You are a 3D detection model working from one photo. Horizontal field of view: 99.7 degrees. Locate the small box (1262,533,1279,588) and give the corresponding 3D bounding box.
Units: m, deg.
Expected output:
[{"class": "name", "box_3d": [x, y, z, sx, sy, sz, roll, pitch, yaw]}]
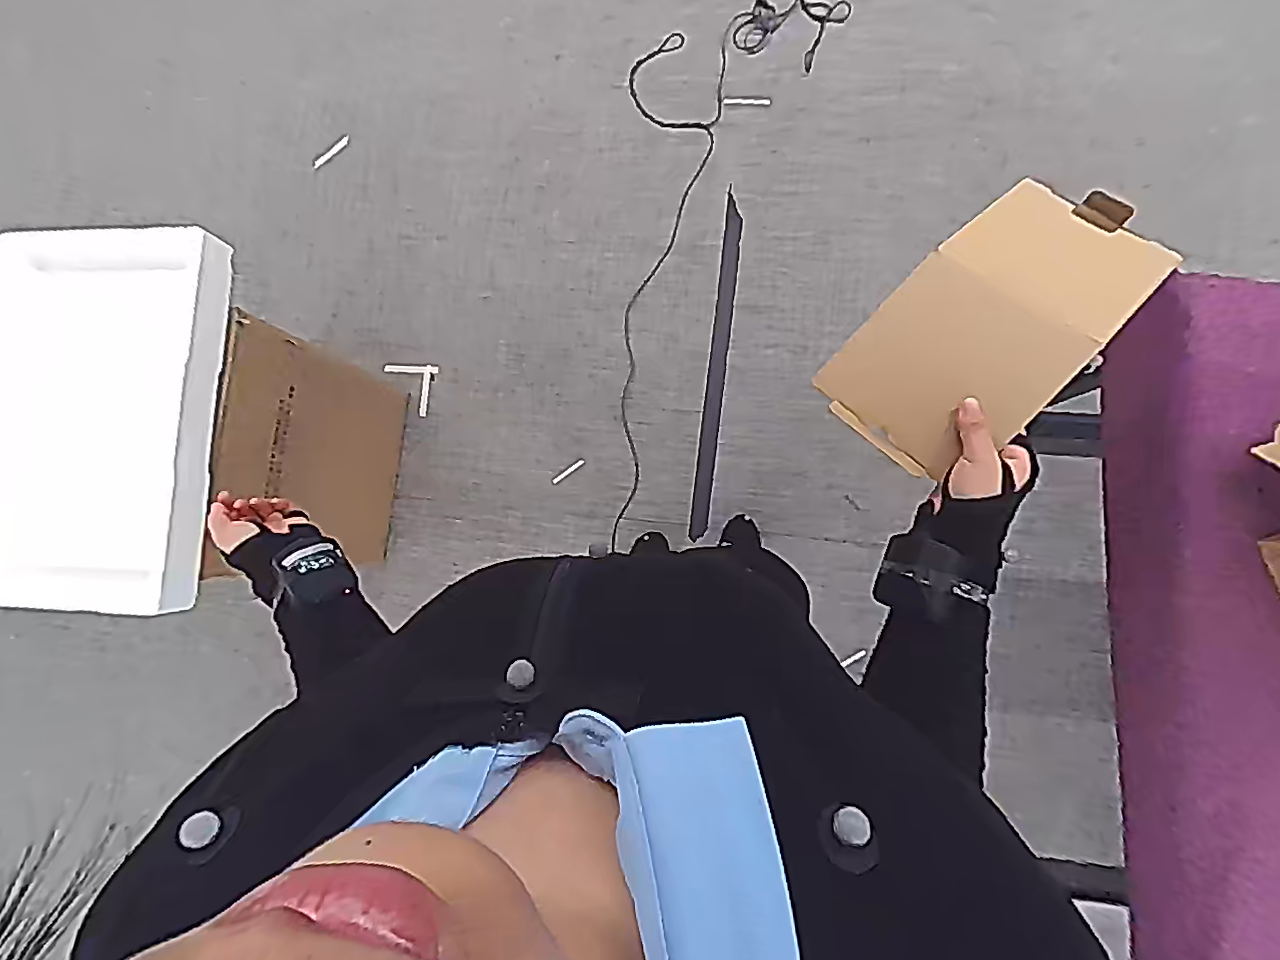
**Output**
[{"class": "small box", "box_3d": [0.874, 0.124, 0.595, 0.168, 0.176, 0.179, -17, 83, 5]}]
